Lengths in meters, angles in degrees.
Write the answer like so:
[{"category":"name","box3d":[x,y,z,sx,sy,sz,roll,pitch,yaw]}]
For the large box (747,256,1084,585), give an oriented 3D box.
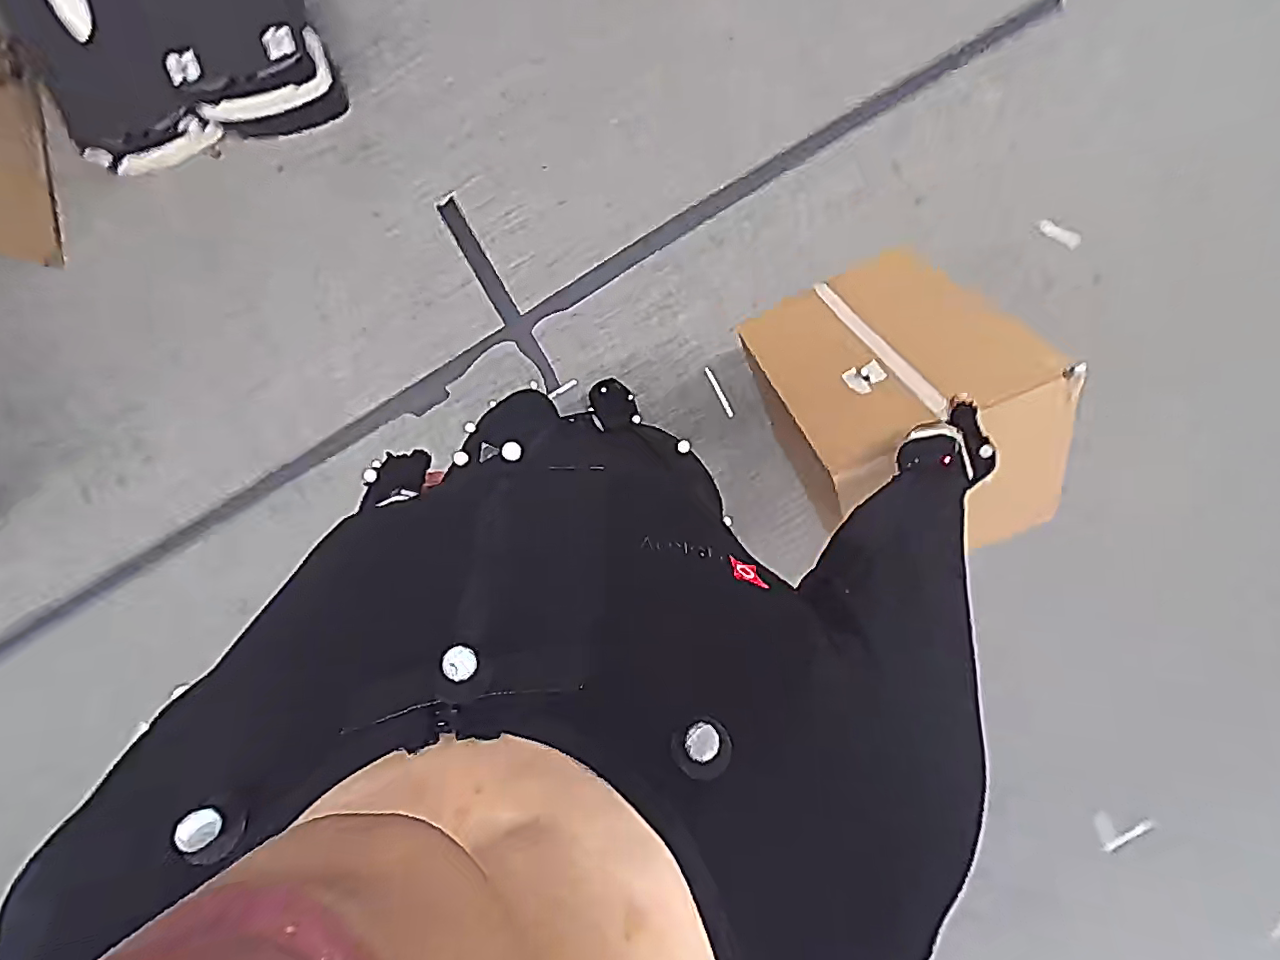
[{"category":"large box","box3d":[0.422,-0.103,0.919,0.320,0.408,0.320,-24,135,10]}]
